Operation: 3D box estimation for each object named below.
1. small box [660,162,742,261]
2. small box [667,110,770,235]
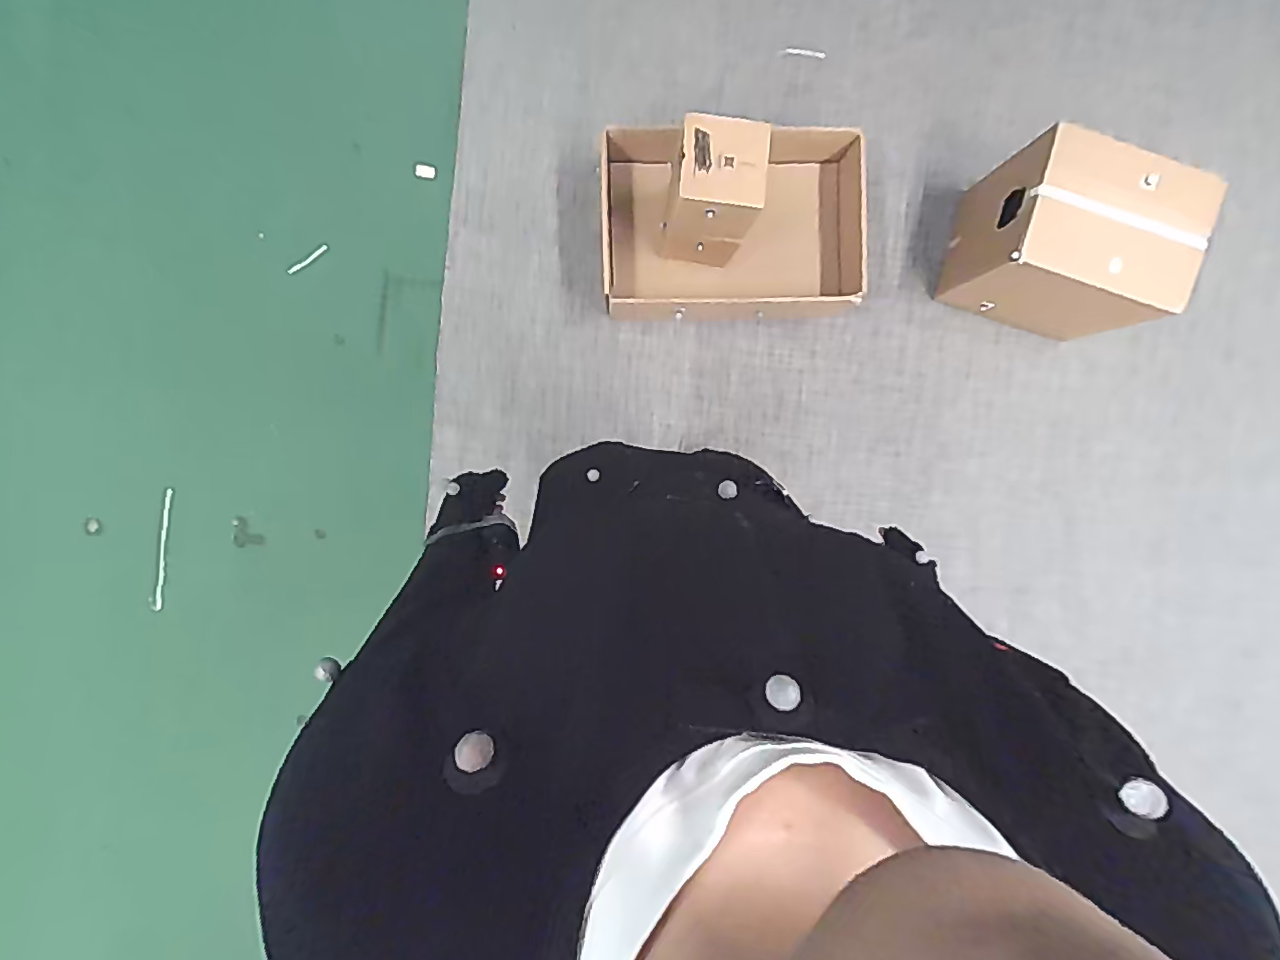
[{"bbox_3d":[0.147,-0.646,1.306,0.179,0.176,0.168,5,93,-6],"label":"small box"},{"bbox_3d":[0.157,-0.638,1.142,0.179,0.176,0.168,5,93,-6],"label":"small box"}]
